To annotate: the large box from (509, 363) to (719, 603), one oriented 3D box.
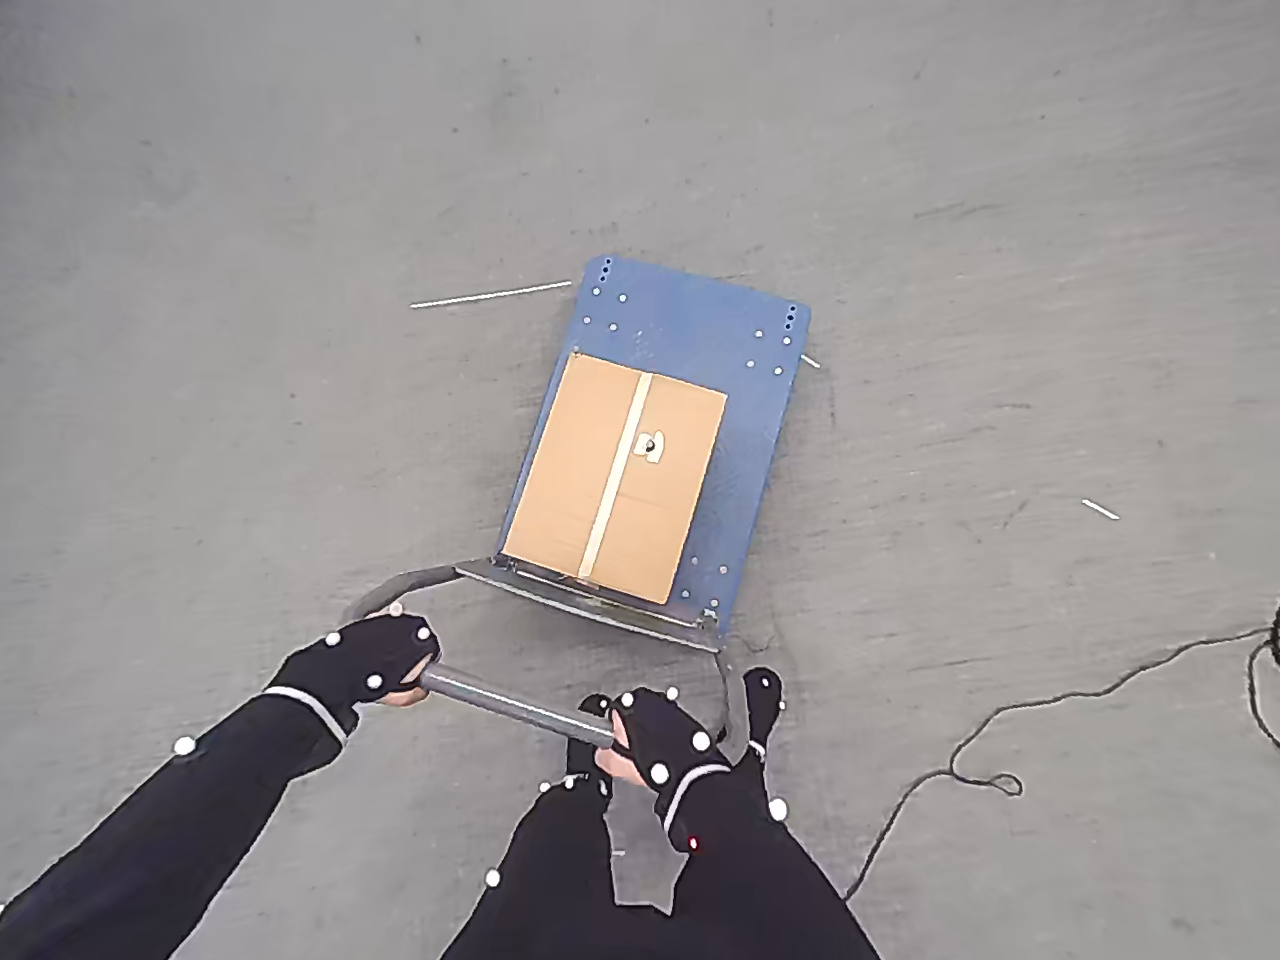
[{"bbox_3d":[-0.039,0.024,1.163,0.320,0.320,0.408,17,82,5],"label":"large box"}]
